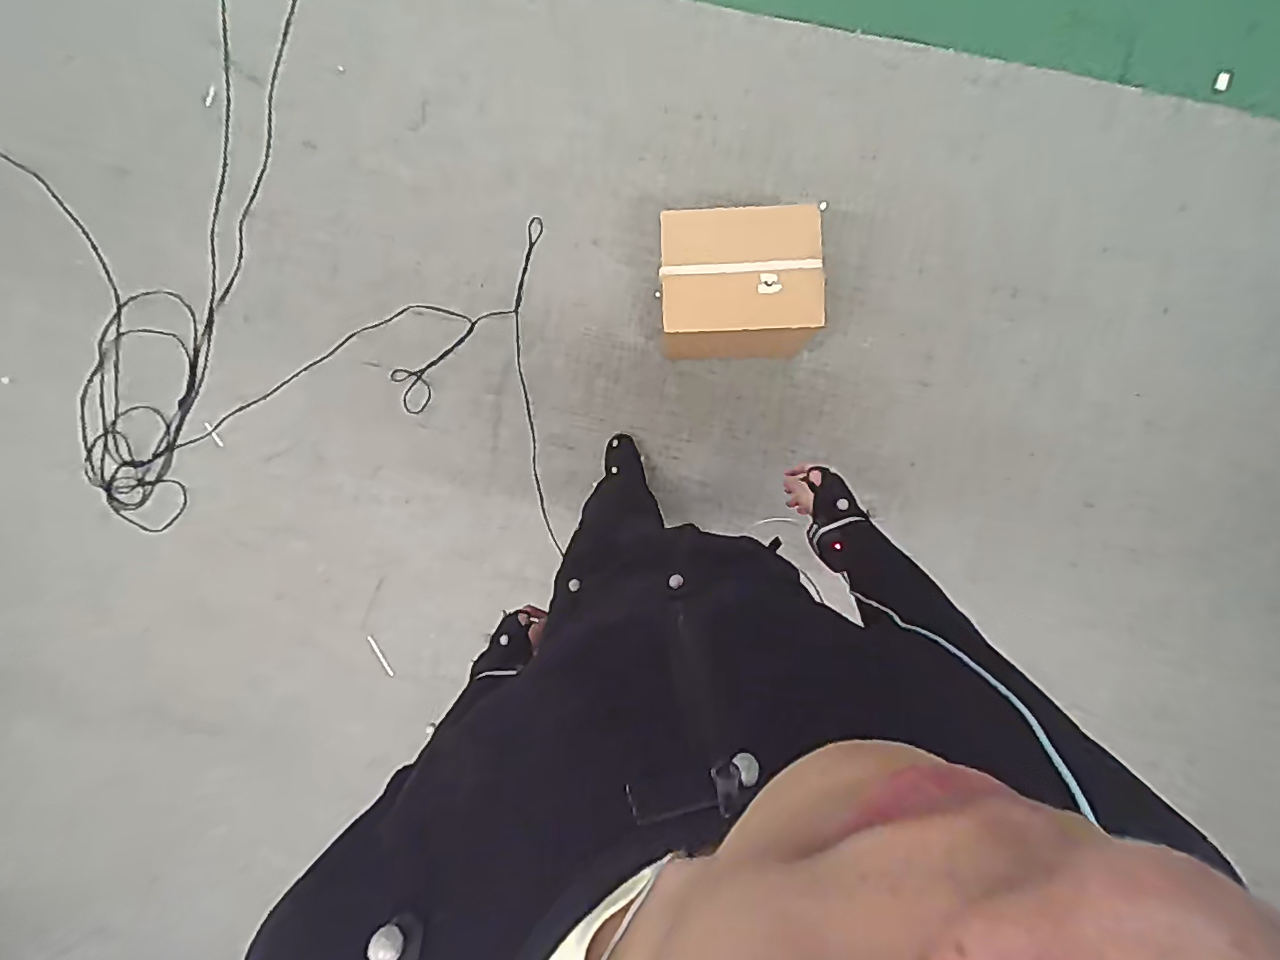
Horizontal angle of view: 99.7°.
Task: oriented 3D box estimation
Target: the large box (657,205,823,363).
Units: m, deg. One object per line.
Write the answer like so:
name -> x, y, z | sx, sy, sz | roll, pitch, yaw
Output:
large box -> 0.256, -0.523, 1.502 | 0.408, 0.320, 0.320 | -2, 88, 2
